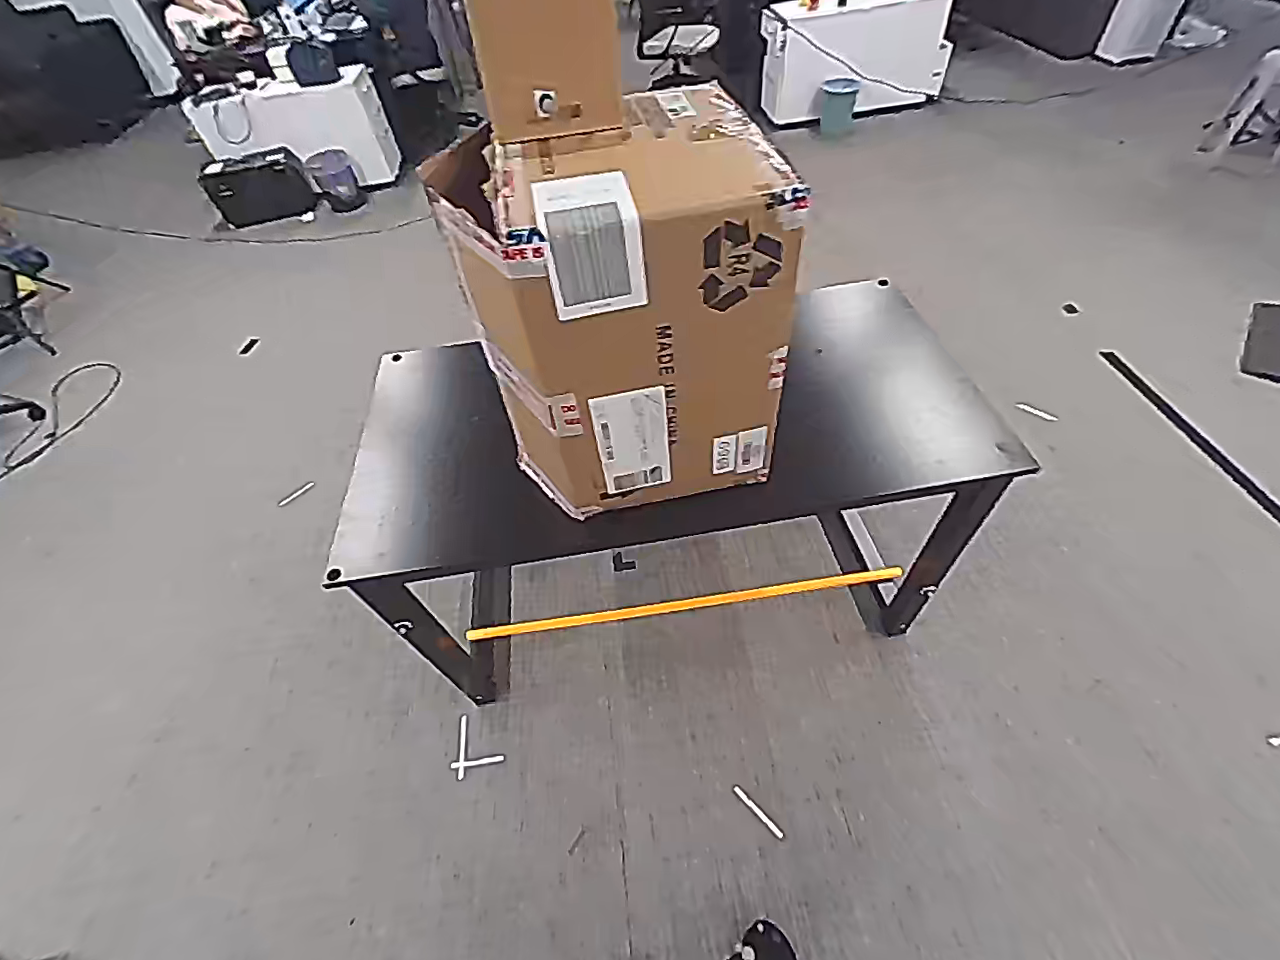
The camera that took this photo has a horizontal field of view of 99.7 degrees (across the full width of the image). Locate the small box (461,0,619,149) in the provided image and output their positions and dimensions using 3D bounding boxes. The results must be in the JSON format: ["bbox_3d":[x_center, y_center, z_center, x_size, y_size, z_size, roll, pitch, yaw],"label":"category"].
[{"bbox_3d":[-0.129,-0.548,0.689,0.168,0.176,0.179,-14,49,-6],"label":"small box"}]
